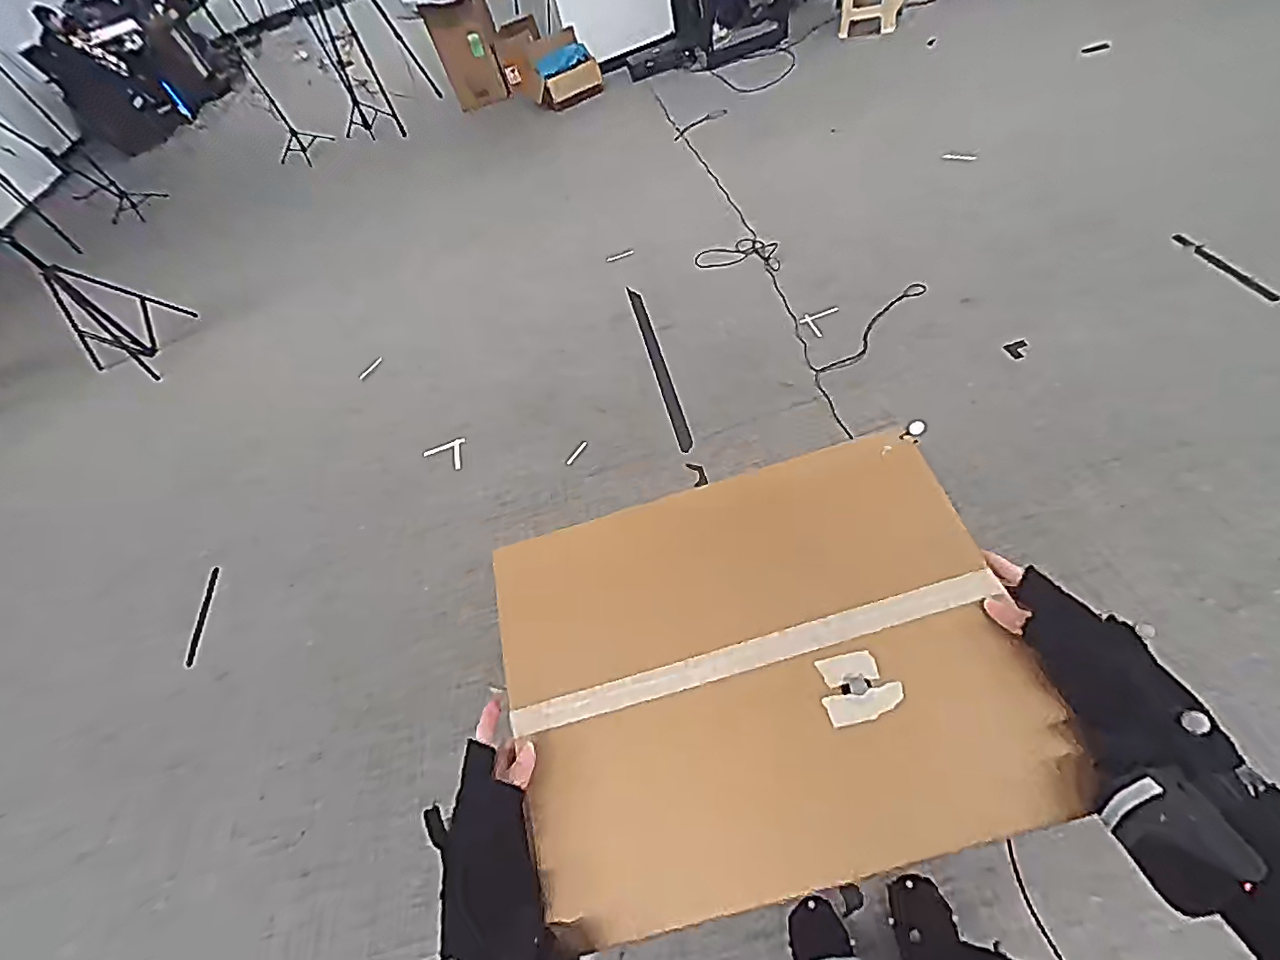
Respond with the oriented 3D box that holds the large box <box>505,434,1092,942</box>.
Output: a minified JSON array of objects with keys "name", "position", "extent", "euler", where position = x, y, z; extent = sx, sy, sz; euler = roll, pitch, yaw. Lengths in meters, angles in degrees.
[{"name":"large box","position":[0.116,0.211,0.582],"extent":[0.408,0.320,0.320],"euler":[-17,62,1]}]
